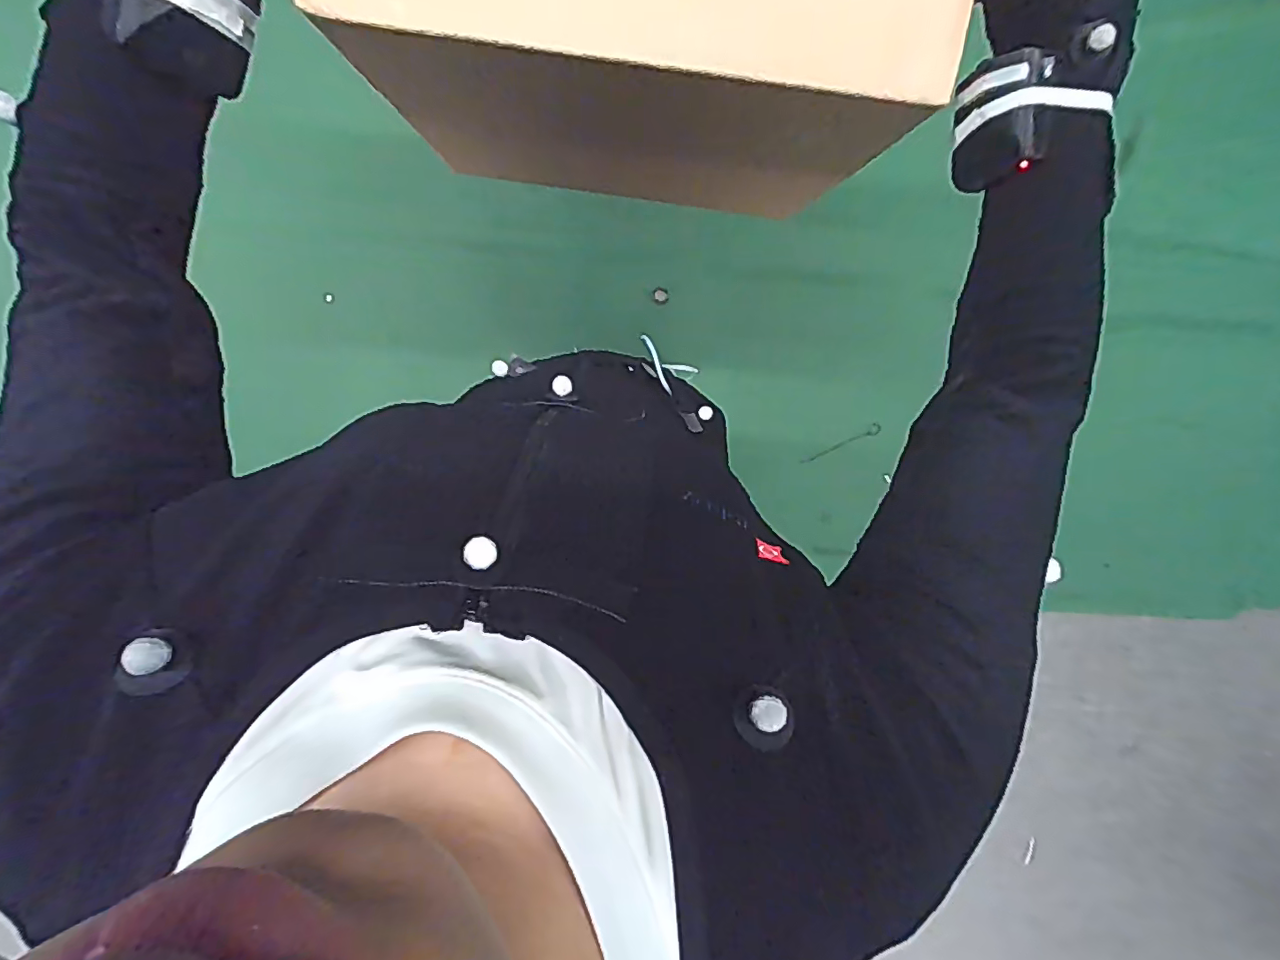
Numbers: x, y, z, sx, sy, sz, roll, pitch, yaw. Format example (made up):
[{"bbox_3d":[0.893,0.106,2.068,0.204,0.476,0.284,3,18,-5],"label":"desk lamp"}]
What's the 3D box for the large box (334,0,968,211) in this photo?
[{"bbox_3d":[0.014,-0.449,0.455,0.408,0.320,0.320,6,104,-4],"label":"large box"}]
